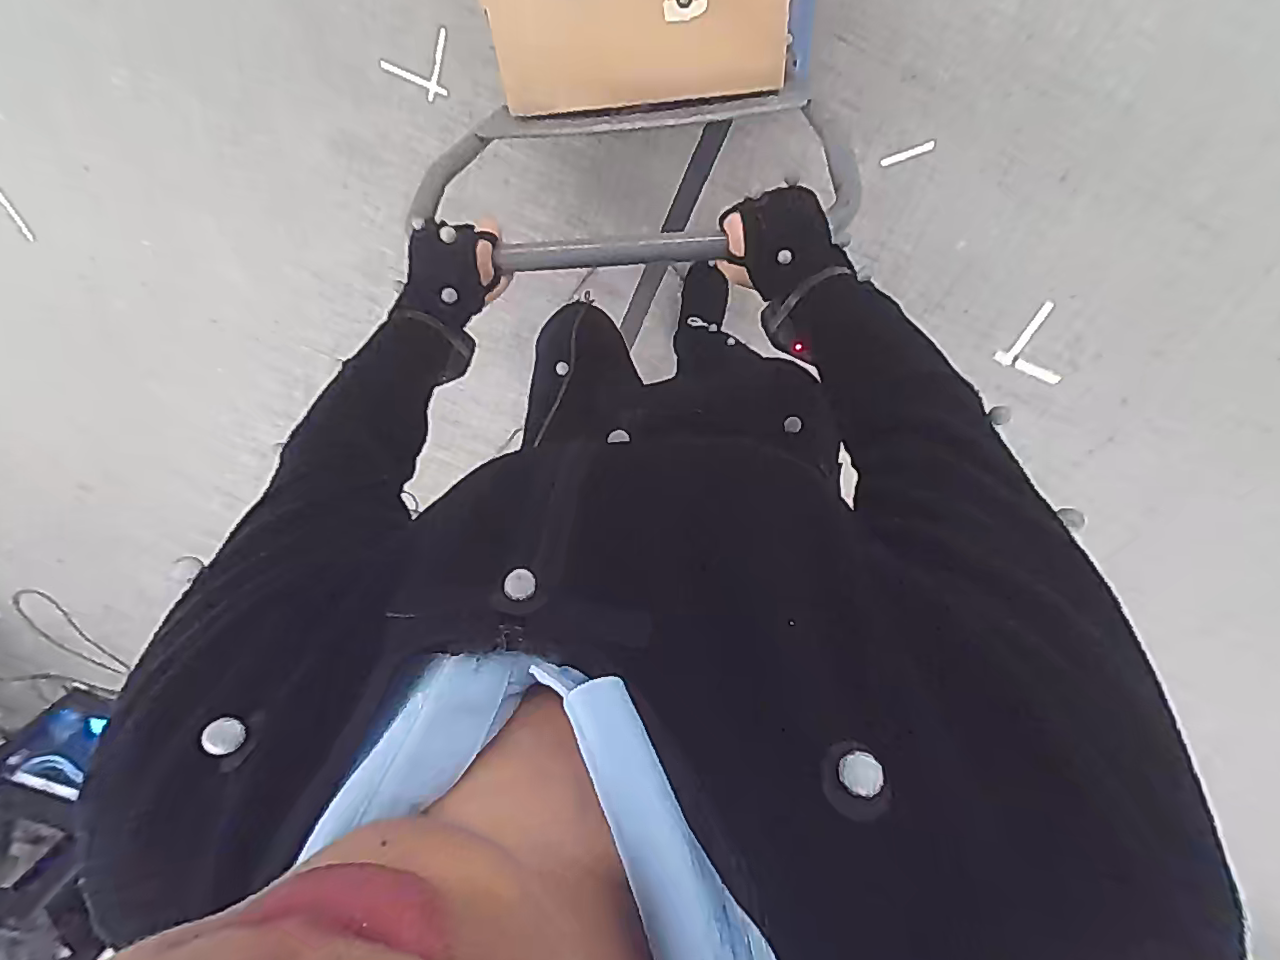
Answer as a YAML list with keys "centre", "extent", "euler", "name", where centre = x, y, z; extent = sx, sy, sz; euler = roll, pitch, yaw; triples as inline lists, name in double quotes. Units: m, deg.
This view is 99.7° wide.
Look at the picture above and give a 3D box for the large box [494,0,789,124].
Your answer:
- centre: [0.003, -0.769, 0.818]
  extent: [0.408, 0.320, 0.320]
  euler: [-3, 131, 7]
  name: "large box"
